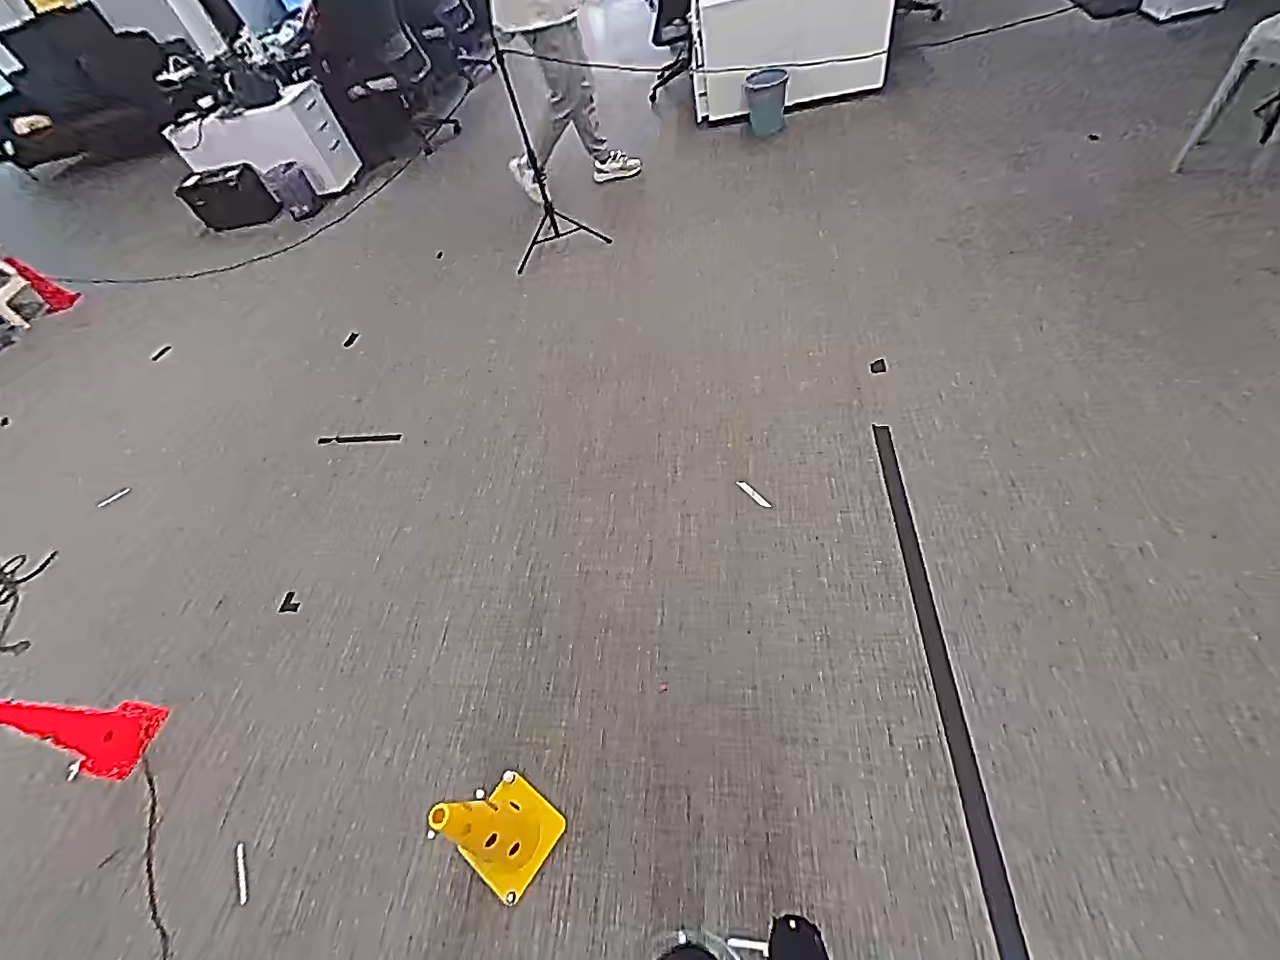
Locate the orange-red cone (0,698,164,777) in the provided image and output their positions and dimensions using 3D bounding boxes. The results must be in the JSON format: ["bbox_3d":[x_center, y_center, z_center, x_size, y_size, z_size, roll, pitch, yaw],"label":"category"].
[{"bbox_3d":[-1.582,0.667,1.488,0.199,0.360,0.198,4,55,16],"label":"orange-red cone"}]
